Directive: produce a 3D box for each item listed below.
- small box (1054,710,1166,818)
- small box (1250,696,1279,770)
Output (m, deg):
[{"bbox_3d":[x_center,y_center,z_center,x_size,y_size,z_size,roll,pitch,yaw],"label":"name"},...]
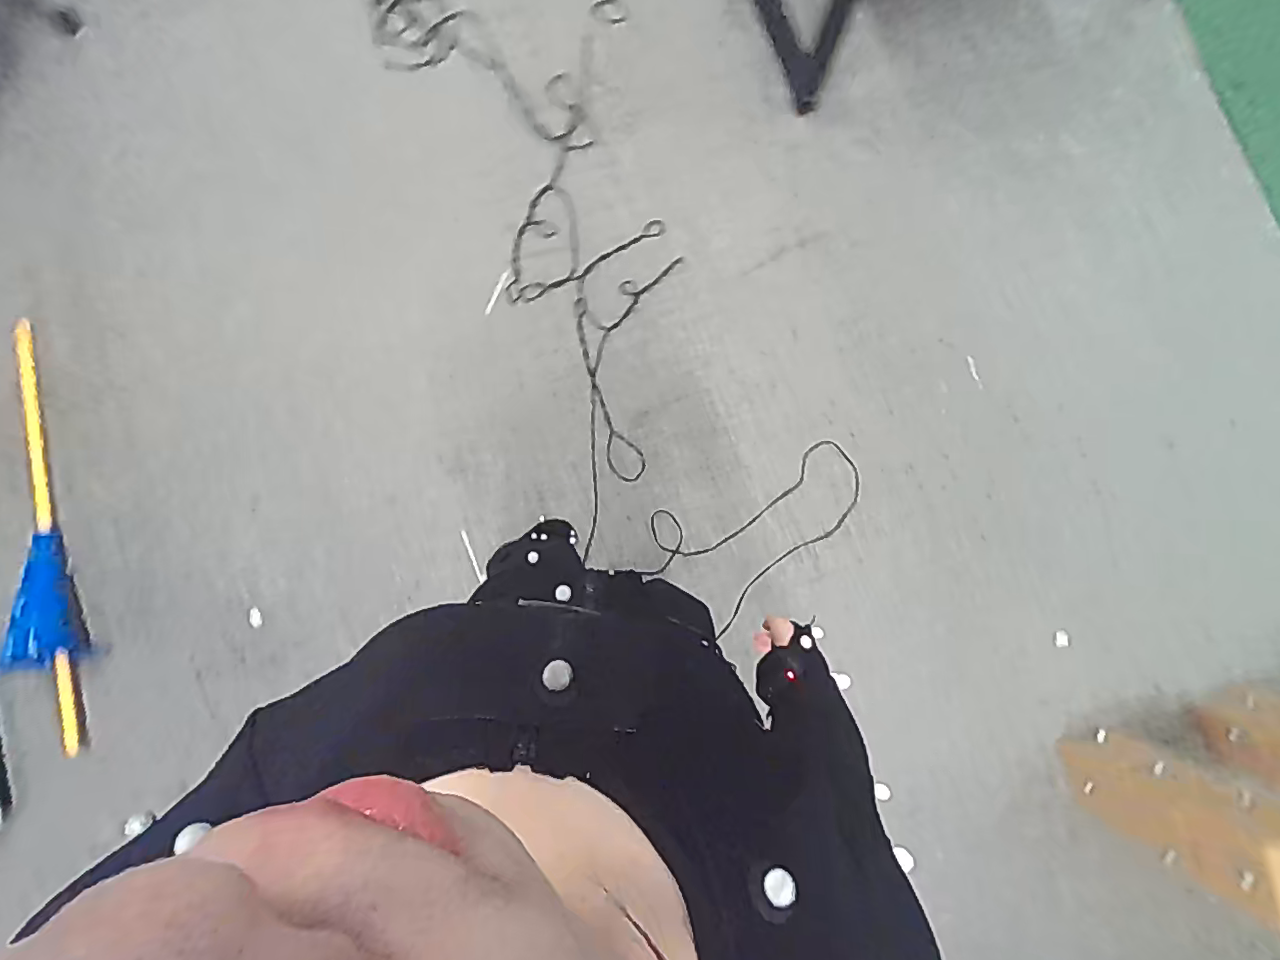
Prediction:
[{"bbox_3d":[1.233,0.729,1.405,0.168,0.176,0.179,-14,86,-1],"label":"small box"},{"bbox_3d":[1.599,0.602,1.249,0.168,0.176,0.179,-23,86,-2],"label":"small box"}]
